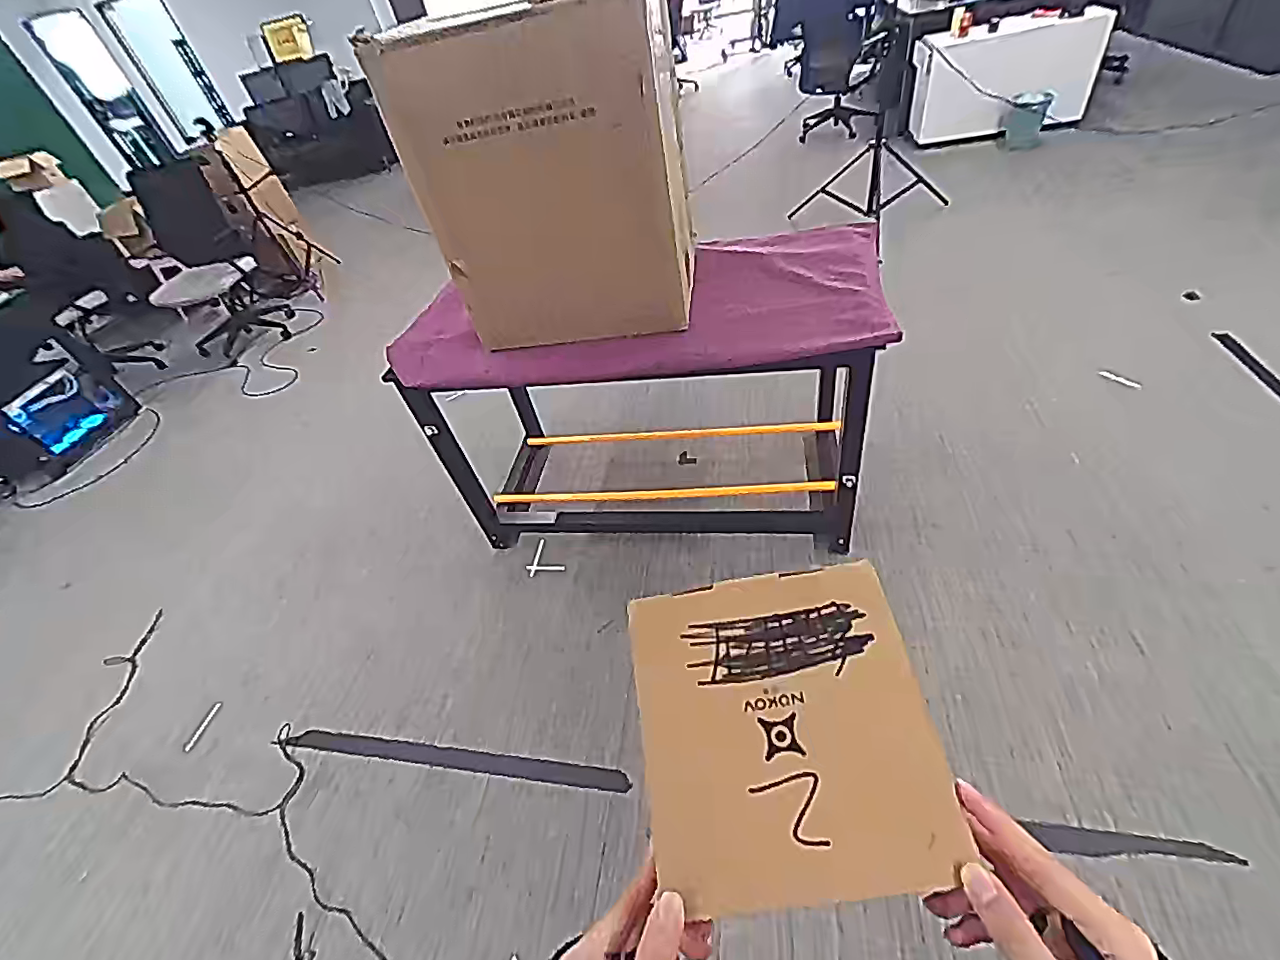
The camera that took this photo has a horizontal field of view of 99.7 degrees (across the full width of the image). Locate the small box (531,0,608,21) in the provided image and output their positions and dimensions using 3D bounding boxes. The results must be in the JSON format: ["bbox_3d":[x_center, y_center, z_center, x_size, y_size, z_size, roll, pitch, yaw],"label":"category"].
[{"bbox_3d":[-0.103,-0.885,0.878,0.168,0.176,0.179,-1,46,14],"label":"small box"}]
